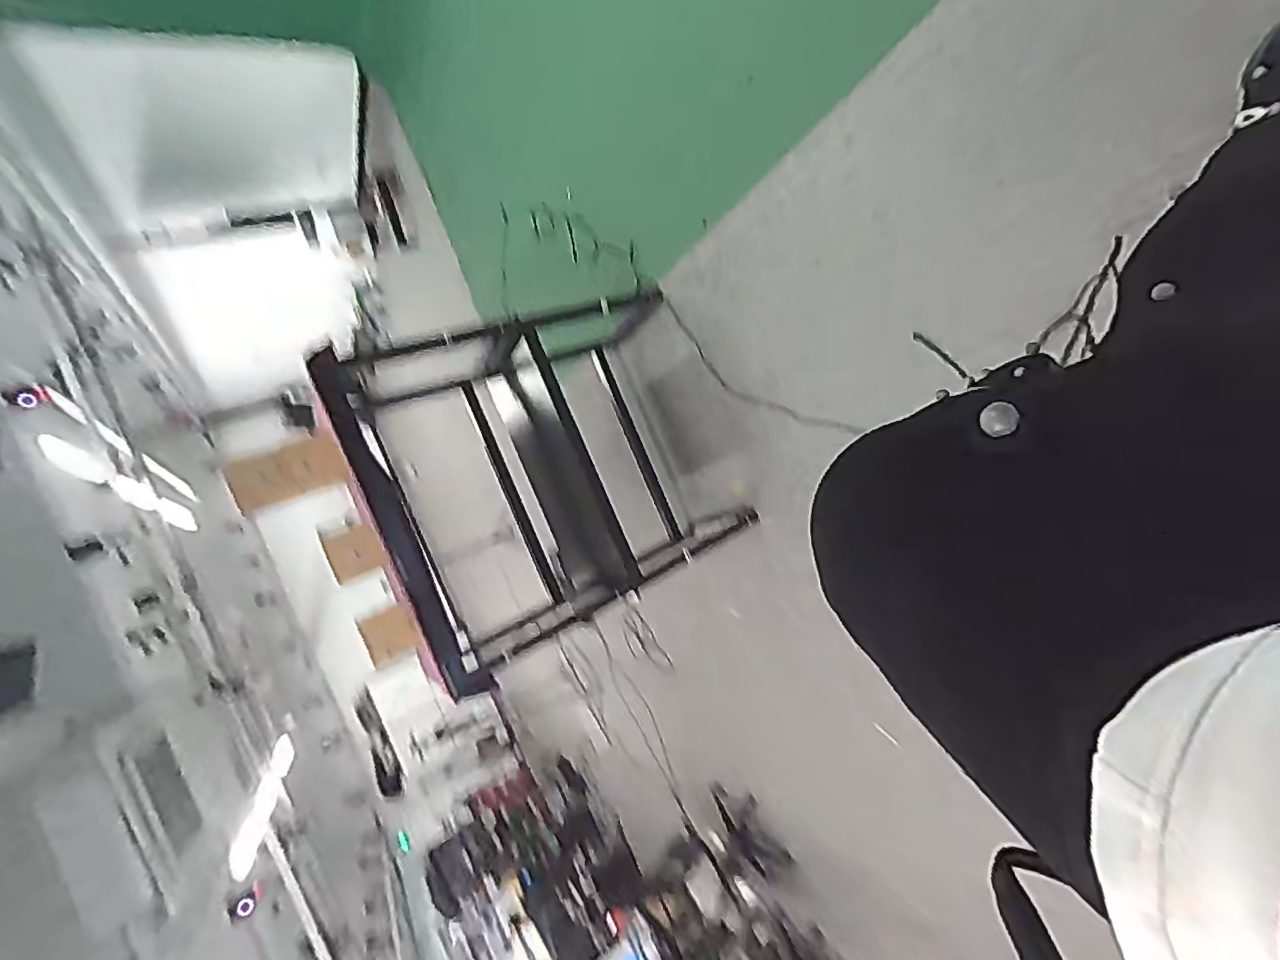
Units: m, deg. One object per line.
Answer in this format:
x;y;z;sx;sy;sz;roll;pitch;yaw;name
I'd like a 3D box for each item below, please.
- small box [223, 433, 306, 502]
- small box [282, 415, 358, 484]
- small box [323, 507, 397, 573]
-1.205;-0.042;1.748;0.179;0.176;0.168;-16;97;60;small box
-1.071;-0.102;1.822;0.168;0.176;0.179;-15;98;60;small box
-0.939;0.195;1.814;0.168;0.176;0.179;-12;101;60;small box
